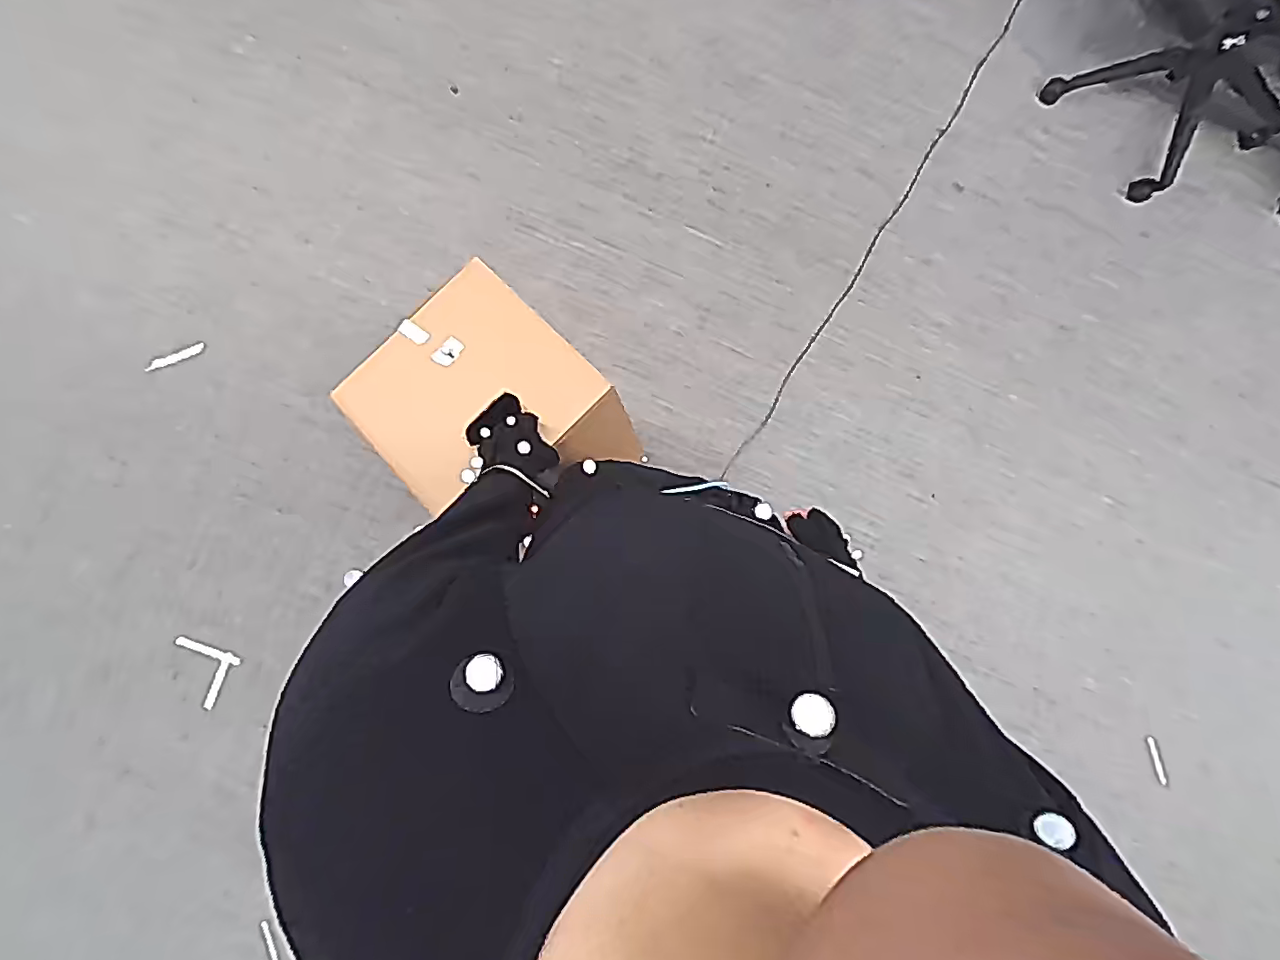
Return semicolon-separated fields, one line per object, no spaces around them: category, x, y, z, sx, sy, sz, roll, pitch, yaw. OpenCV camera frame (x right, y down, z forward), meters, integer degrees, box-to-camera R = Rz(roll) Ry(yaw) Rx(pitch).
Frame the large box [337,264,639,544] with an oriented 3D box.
large box;-0.239;-0.104;0.993;0.320;0.408;0.320;-44;78;-2
